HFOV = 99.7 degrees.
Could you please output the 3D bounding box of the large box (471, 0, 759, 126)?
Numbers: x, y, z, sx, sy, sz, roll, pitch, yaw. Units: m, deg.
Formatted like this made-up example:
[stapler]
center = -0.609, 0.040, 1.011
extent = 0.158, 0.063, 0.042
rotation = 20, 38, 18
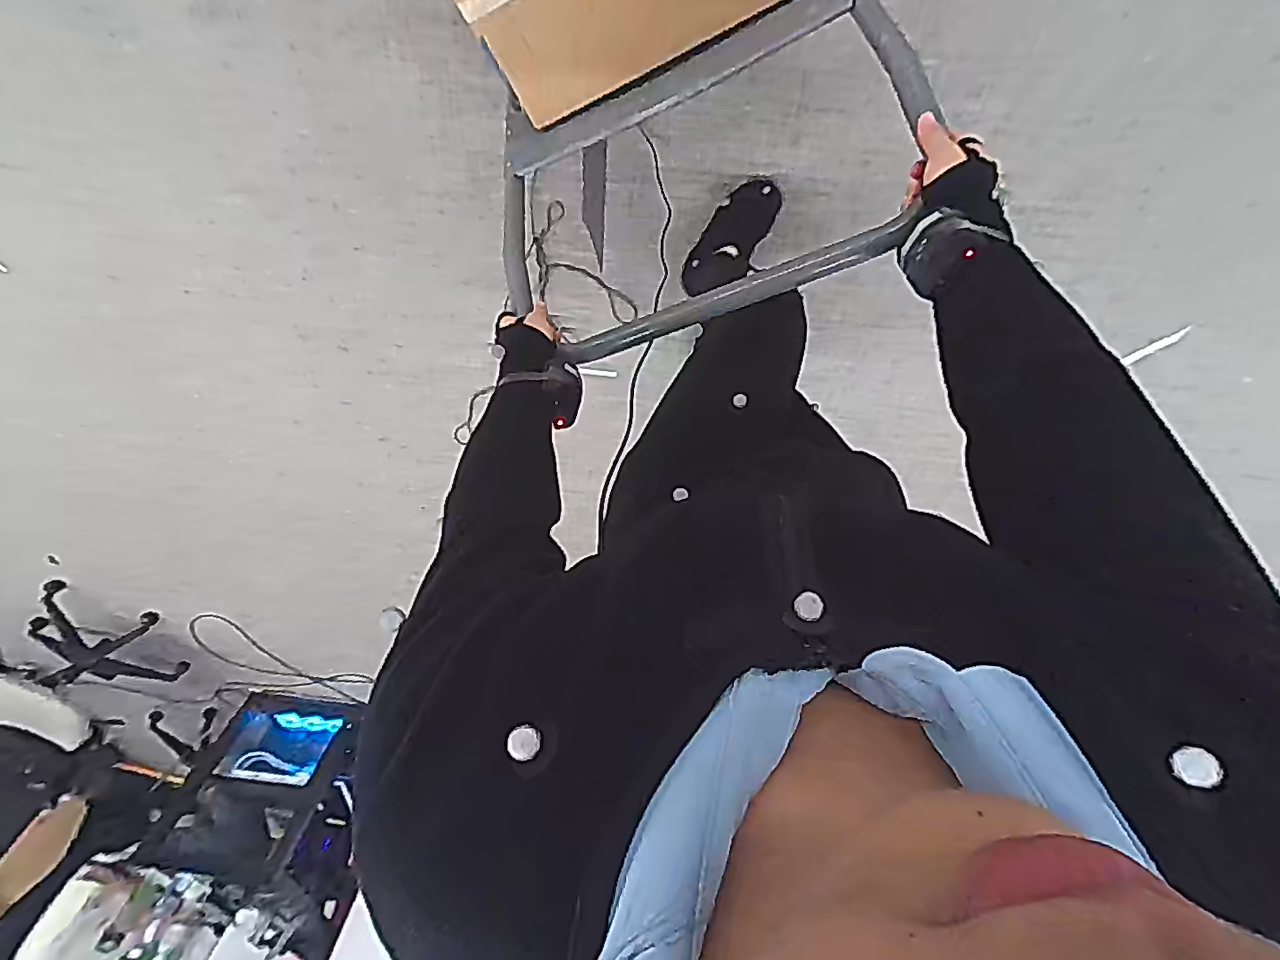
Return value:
[large box]
center = -0.040, -0.761, 0.678
extent = 0.408, 0.320, 0.320
rotation = -18, 148, 18
